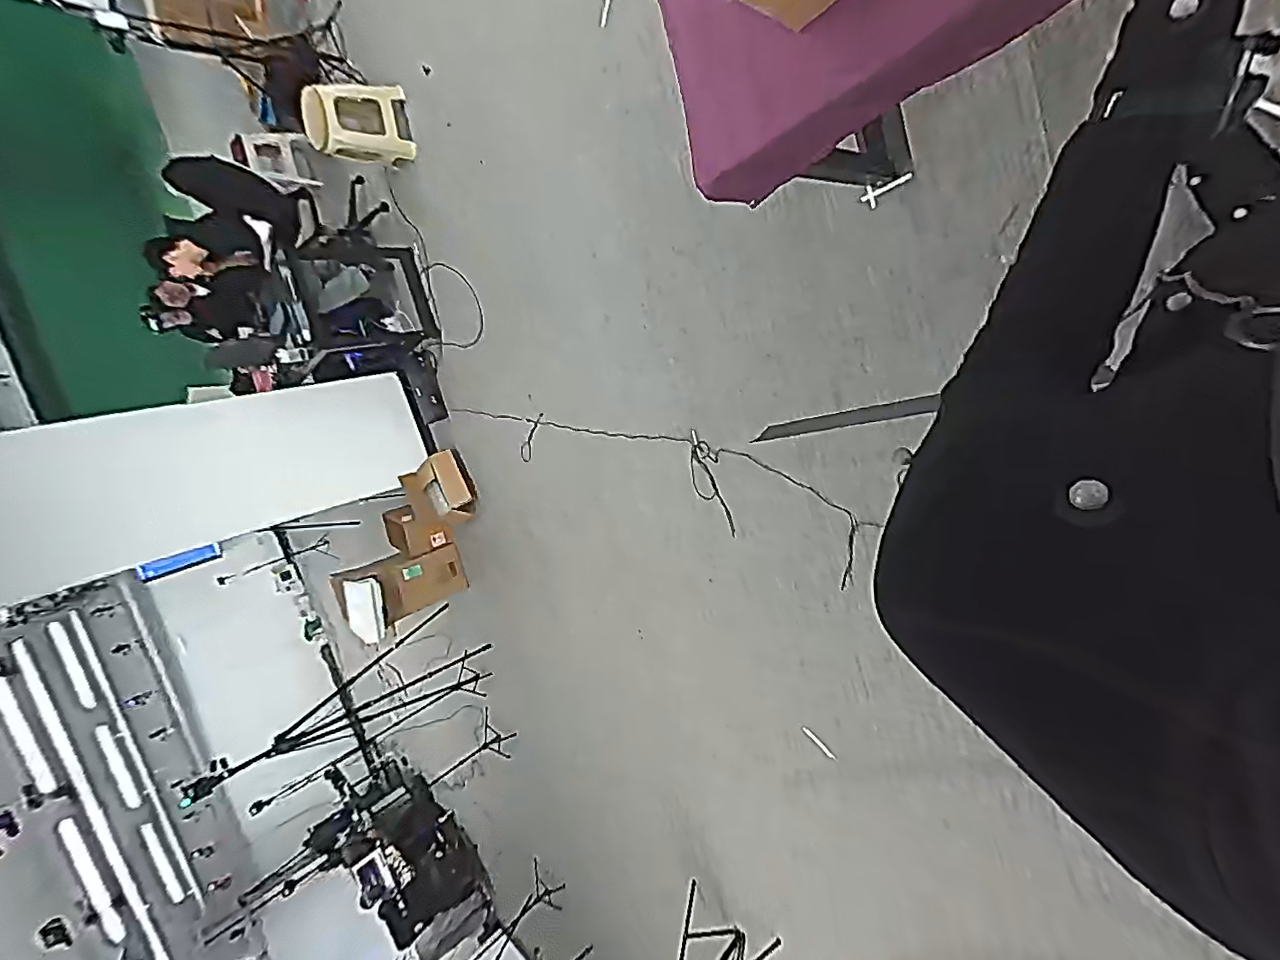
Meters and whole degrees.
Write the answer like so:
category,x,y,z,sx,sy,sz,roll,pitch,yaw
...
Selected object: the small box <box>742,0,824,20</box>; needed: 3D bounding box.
category,x,y,z,sx,sy,sz,roll,pitch,yaw
small box,0.214,-0.748,0.692,0.179,0.176,0.168,-5,103,48
